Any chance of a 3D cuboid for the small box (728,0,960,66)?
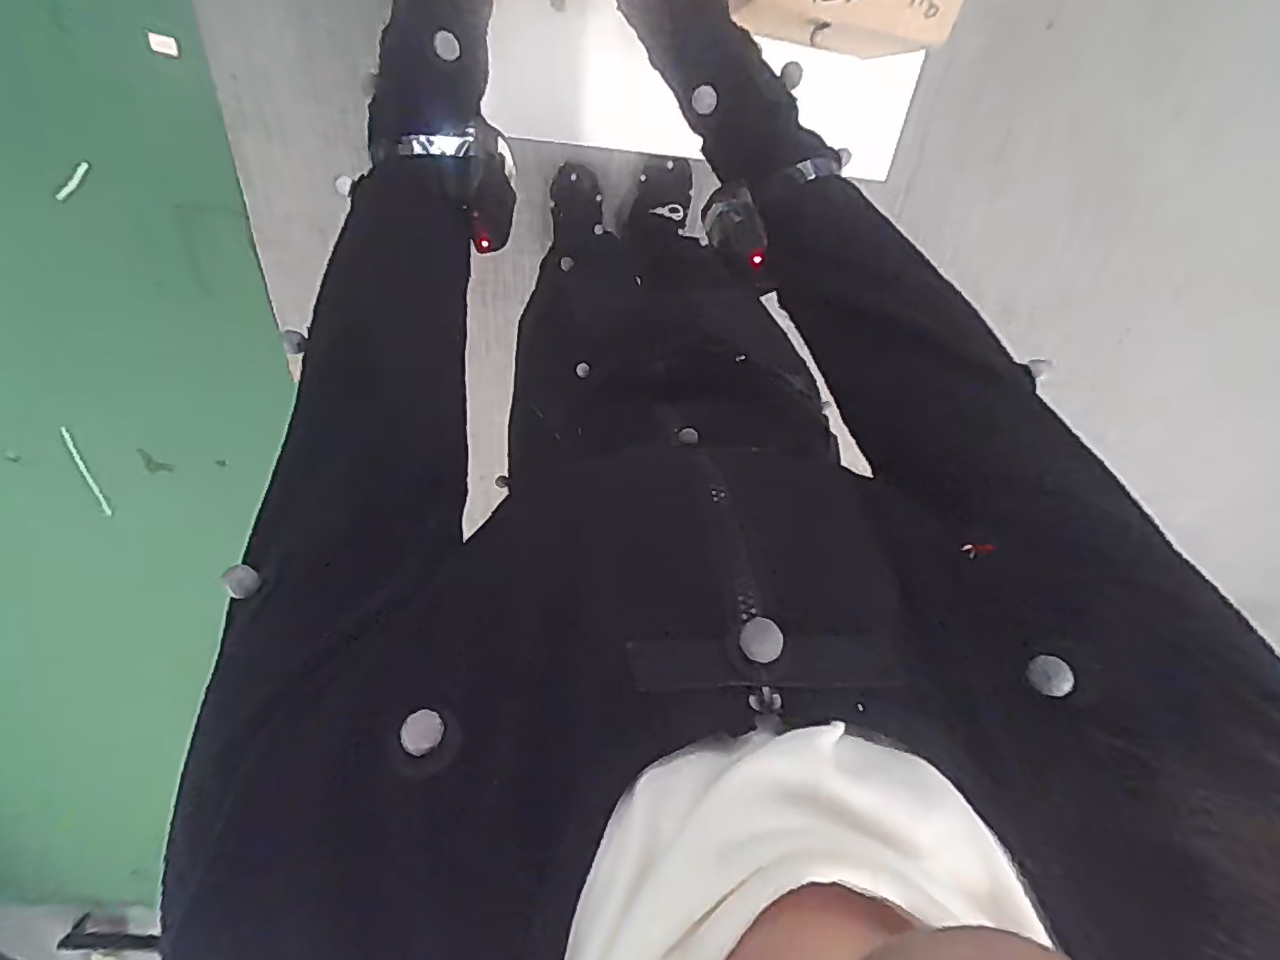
[{"bbox_3d":[0.180,-0.477,0.454,0.168,0.176,0.179,8,124,-6],"label":"small box"}]
